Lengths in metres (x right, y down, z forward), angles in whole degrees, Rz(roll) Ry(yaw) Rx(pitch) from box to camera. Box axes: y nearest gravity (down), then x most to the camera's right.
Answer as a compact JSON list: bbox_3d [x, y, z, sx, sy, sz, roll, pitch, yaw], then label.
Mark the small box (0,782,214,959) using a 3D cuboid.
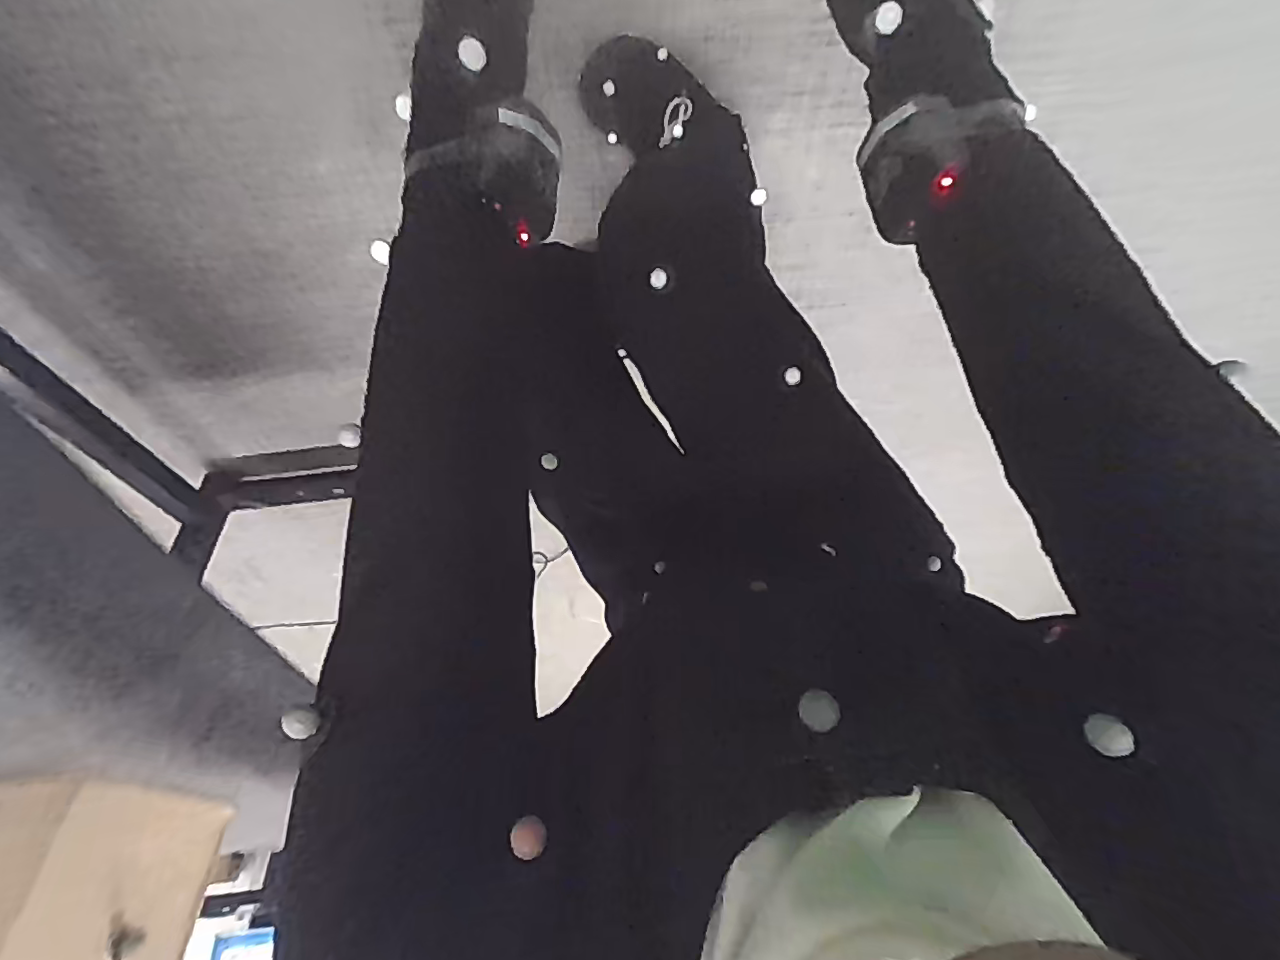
[{"bbox_3d":[-0.467,0.324,0.390,0.168,0.176,0.179,-4,143,0],"label":"small box"}]
